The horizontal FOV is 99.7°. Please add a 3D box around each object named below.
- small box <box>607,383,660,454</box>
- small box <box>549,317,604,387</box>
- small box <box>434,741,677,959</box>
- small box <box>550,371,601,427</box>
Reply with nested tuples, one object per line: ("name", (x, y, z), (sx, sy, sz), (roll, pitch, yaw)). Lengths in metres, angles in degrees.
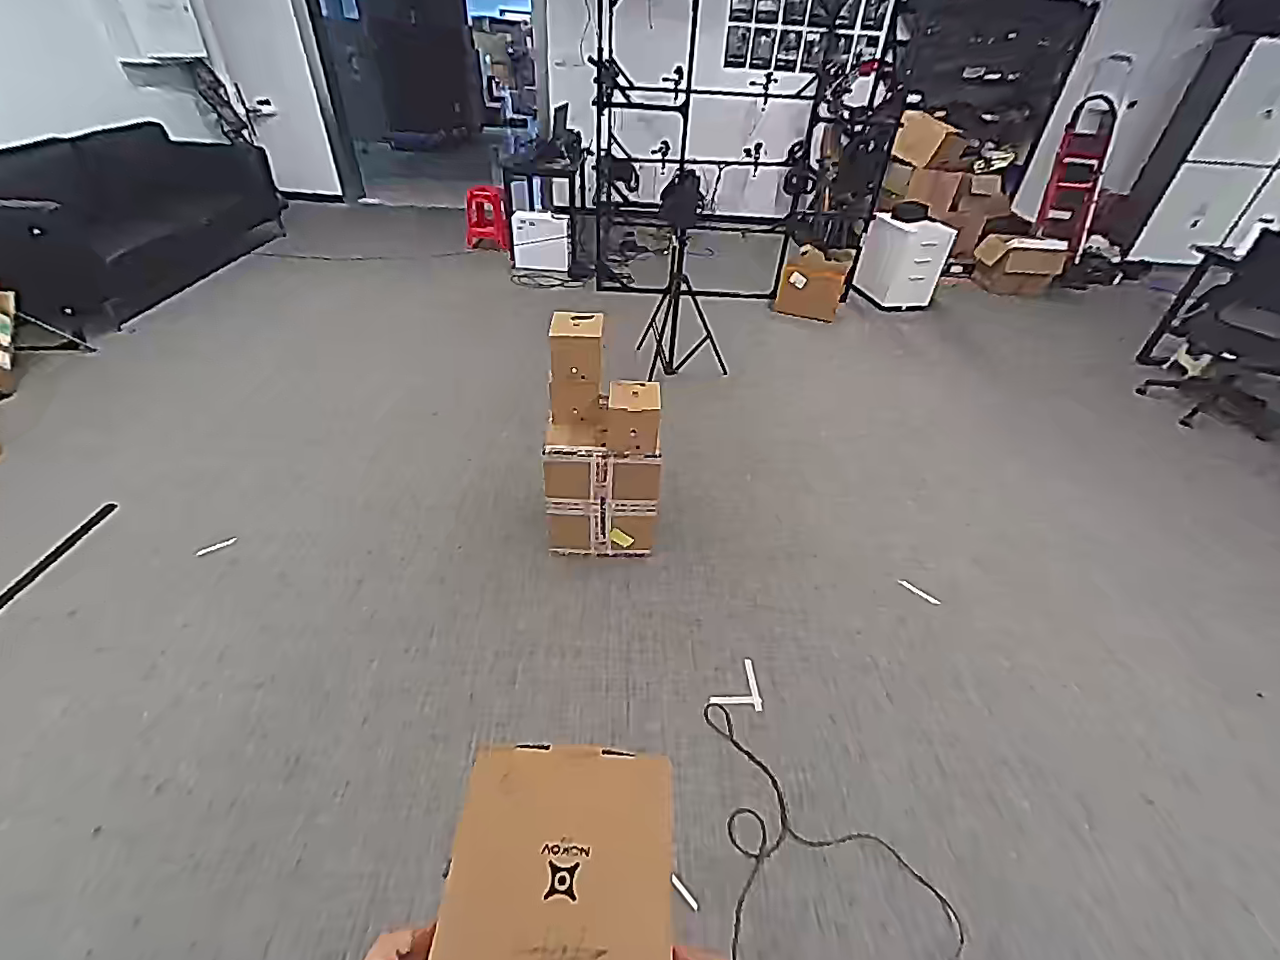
("small box", (-0.022, -0.201, 1.789), (0.168, 0.176, 0.179), (2, 41, -3))
("small box", (-0.205, -0.424, 1.787), (0.168, 0.176, 0.179), (0, 41, -1))
("small box", (-0.062, 0.344, 0.454), (0.168, 0.176, 0.179), (5, 46, -3))
("small box", (-0.224, -0.301, 1.896), (0.168, 0.176, 0.179), (-2, 41, -4))
